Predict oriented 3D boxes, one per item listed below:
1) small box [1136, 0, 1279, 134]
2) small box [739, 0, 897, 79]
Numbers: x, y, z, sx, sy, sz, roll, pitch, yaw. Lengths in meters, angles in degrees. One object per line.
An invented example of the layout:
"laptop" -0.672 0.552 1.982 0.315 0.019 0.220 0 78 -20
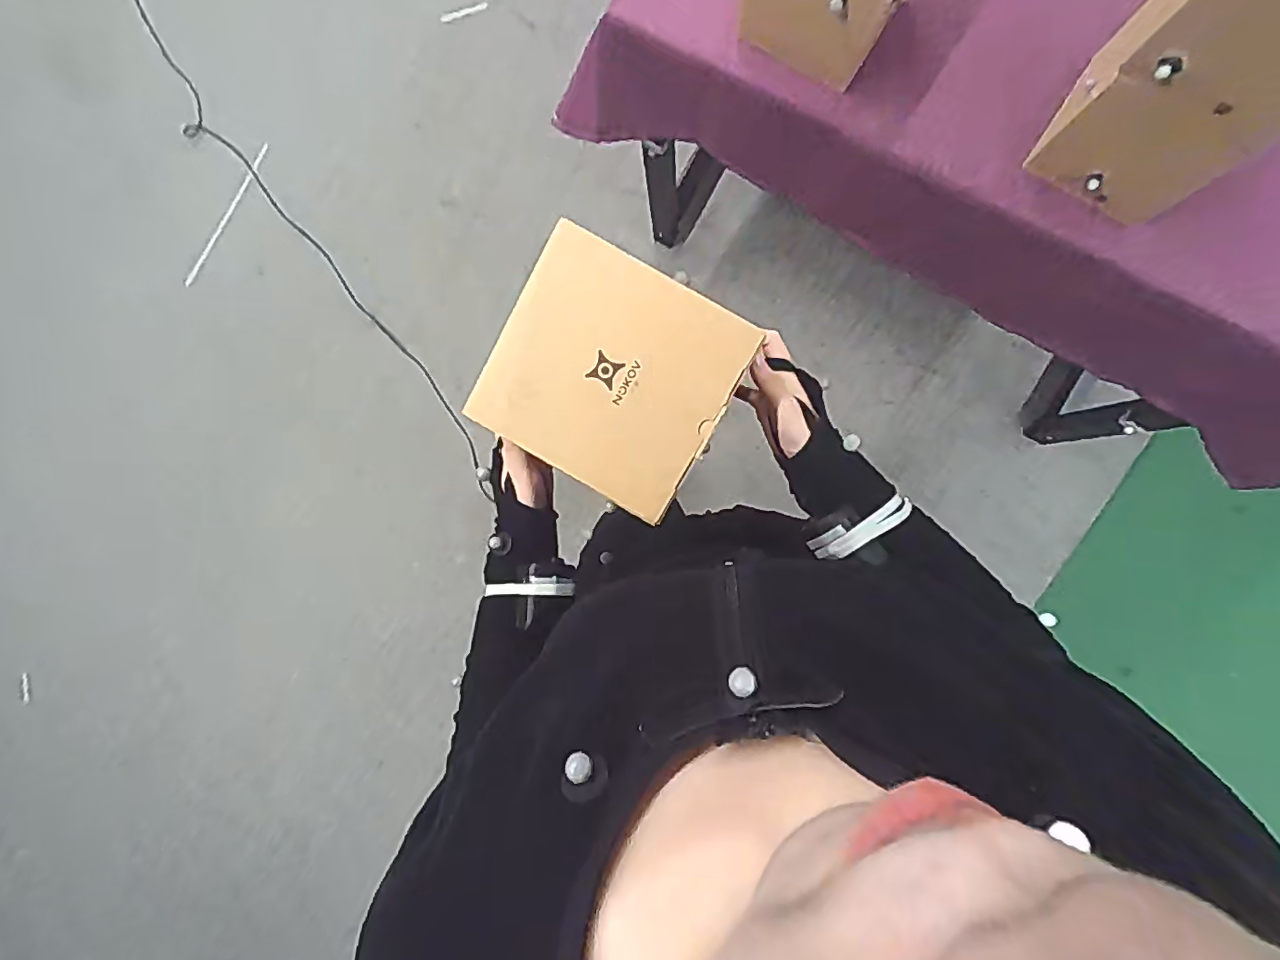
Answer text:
"small box" 0.600 -0.454 0.467 0.168 0.176 0.179 35 92 5
"small box" 0.242 -0.651 0.668 0.179 0.176 0.168 32 91 5
